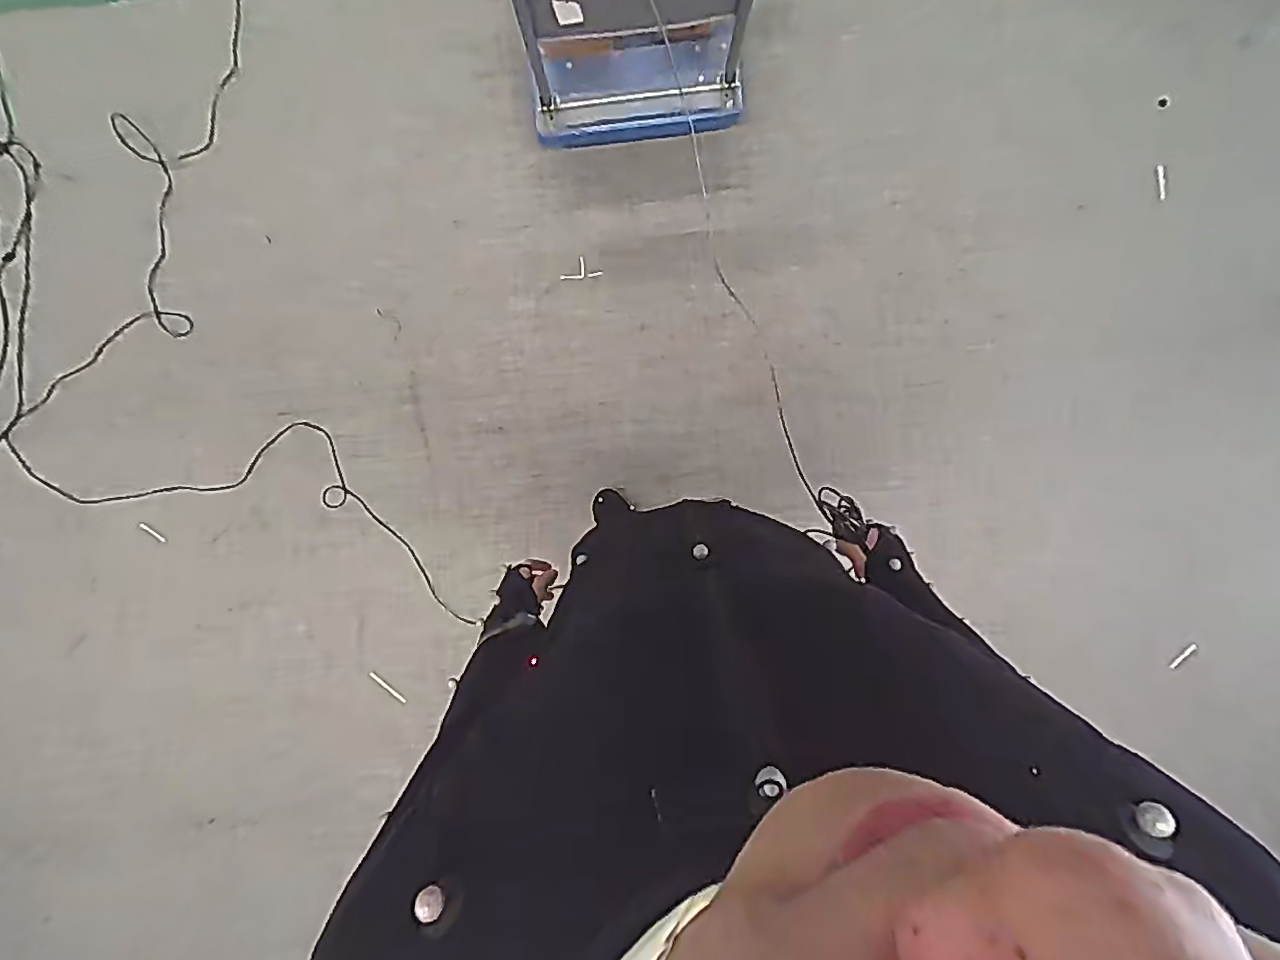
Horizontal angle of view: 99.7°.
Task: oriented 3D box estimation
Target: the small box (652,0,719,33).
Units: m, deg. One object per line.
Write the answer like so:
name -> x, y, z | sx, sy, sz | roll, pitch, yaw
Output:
small box -> 0.113, -1.286, 1.366 | 0.168, 0.176, 0.179 | -4, 92, 2
